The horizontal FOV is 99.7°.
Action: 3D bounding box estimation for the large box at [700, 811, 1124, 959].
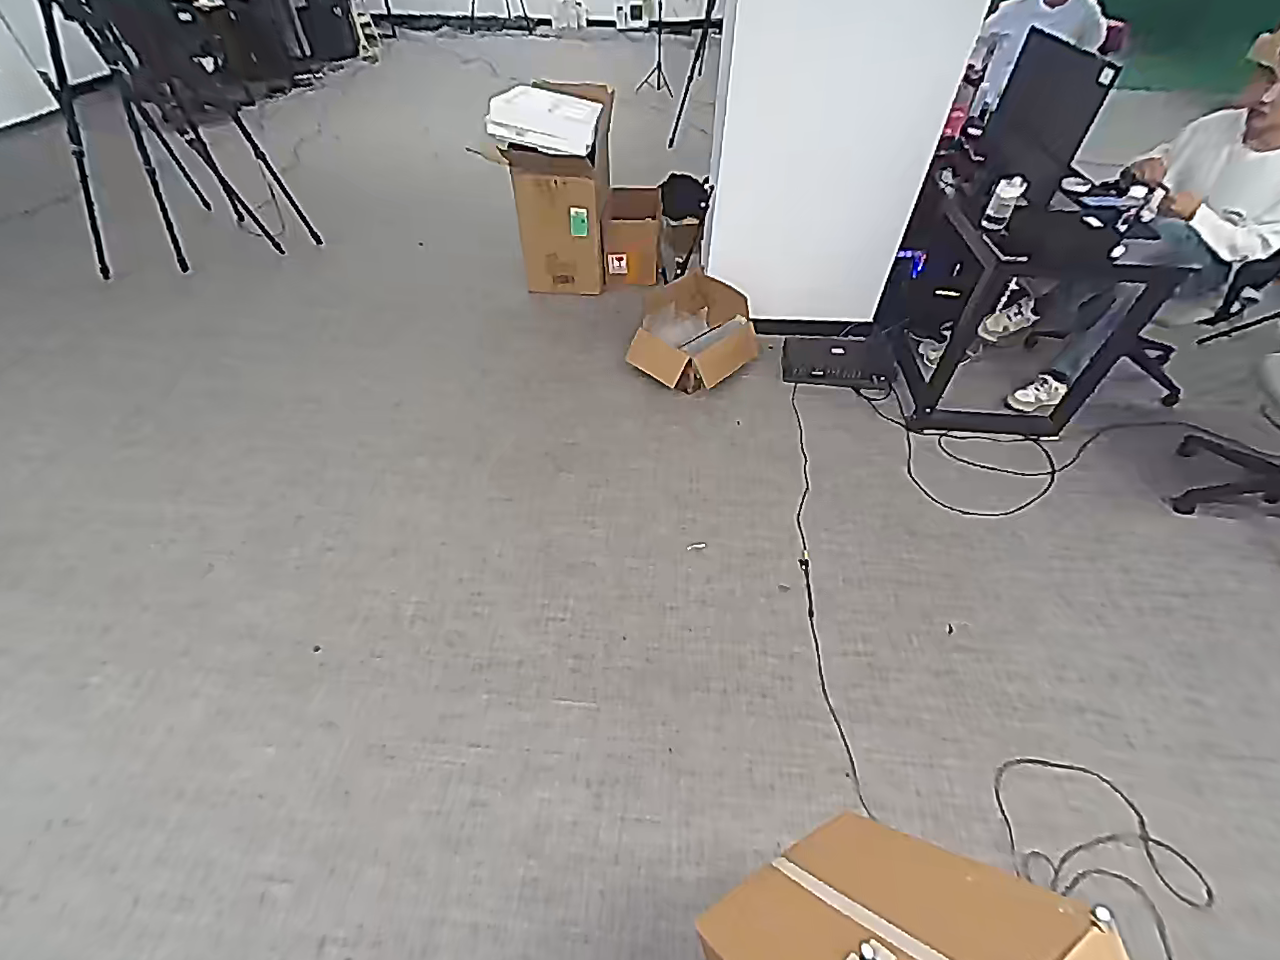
[{"bbox_3d":[0.333,0.679,0.649,0.320,0.408,0.320,-19,81,-22],"label":"large box"}]
